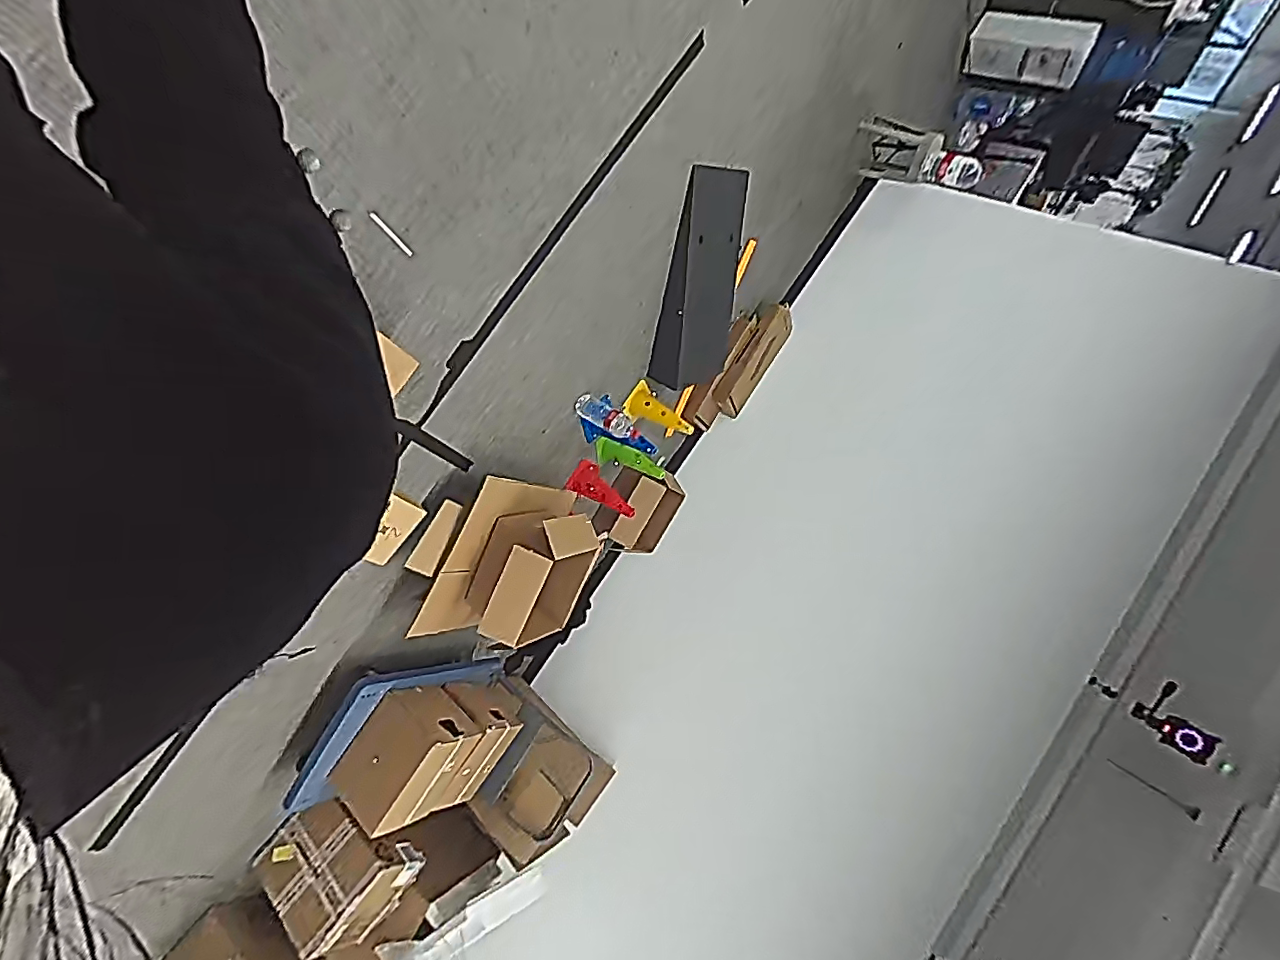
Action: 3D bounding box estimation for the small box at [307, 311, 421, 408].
[{"bbox_3d":[-0.742,-0.328,1.453,0.168,0.176,0.179,-54,156,-4],"label":"small box"}]
